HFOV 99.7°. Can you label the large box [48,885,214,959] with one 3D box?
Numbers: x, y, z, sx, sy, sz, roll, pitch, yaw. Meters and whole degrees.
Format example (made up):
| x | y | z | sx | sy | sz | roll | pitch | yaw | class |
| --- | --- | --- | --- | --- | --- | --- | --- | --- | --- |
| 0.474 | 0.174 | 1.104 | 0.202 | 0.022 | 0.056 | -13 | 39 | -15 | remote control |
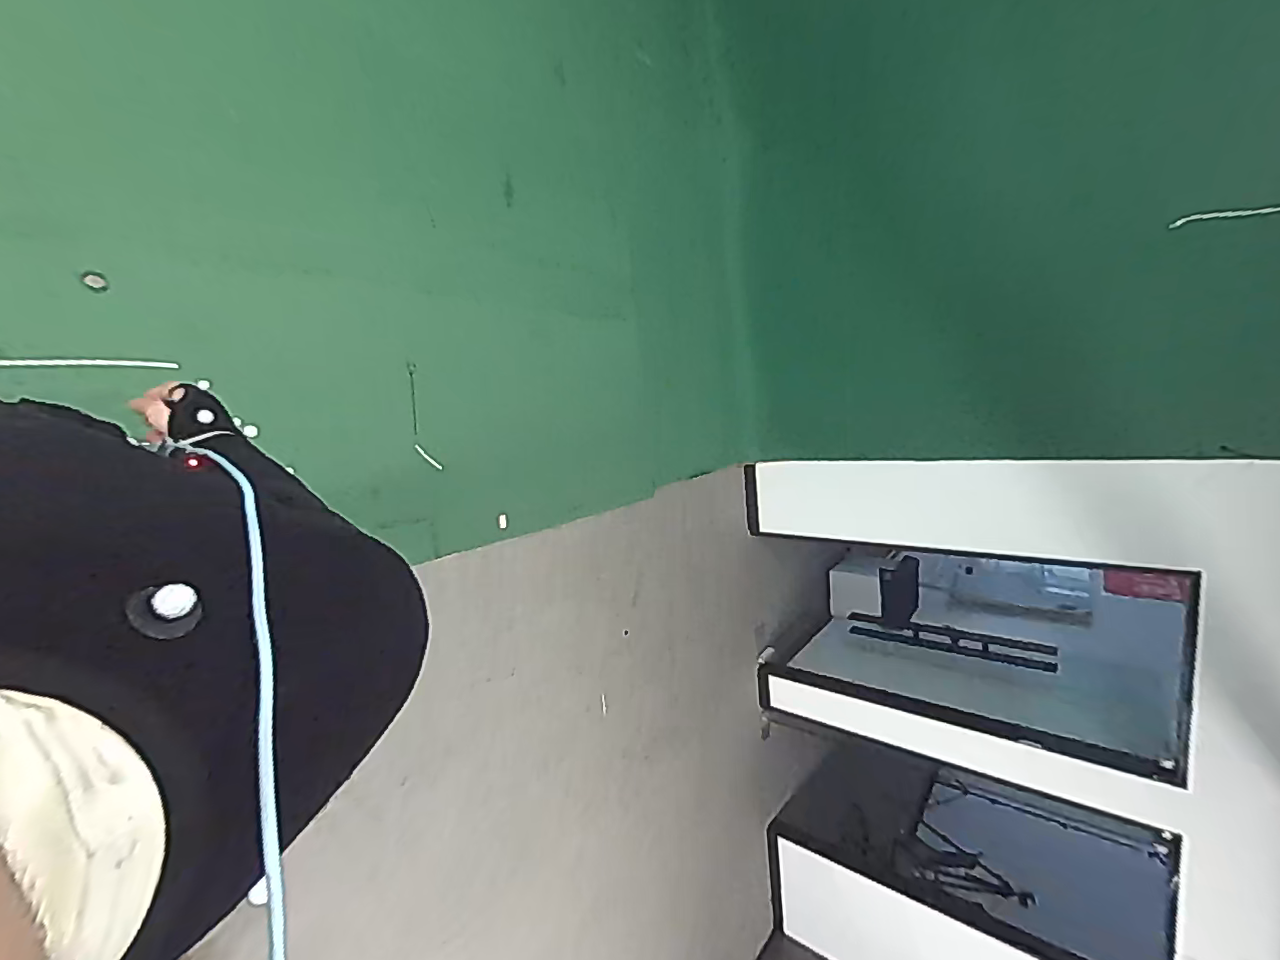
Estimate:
| x | y | z | sx | sy | sz | roll | pitch | yaw | class |
| --- | --- | --- | --- | --- | --- | --- | --- | --- | --- |
| -1.128 | 1.174 | 1.107 | 0.408 | 0.320 | 0.320 | -17 | 105 | -49 | large box |
